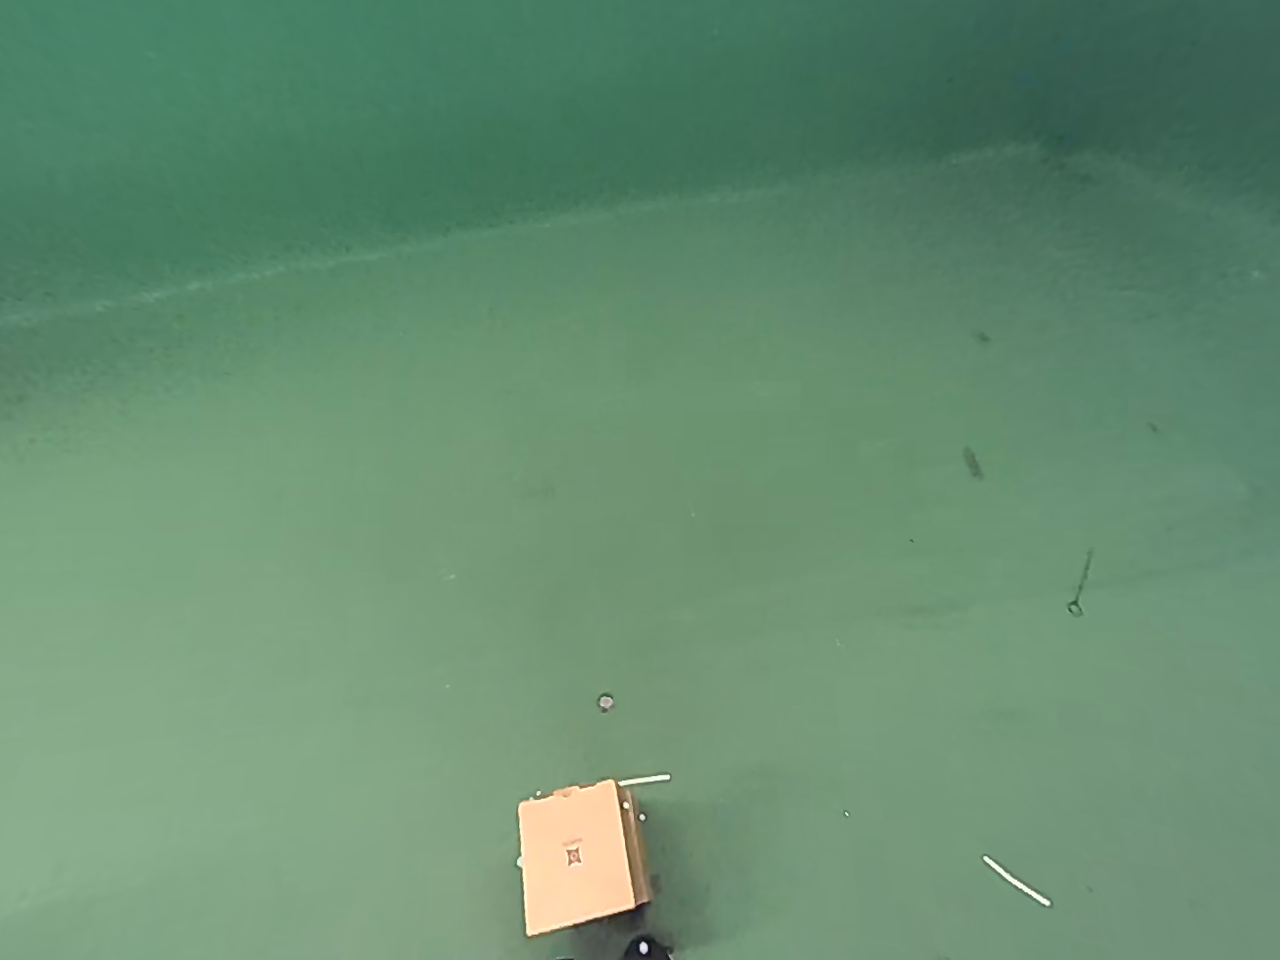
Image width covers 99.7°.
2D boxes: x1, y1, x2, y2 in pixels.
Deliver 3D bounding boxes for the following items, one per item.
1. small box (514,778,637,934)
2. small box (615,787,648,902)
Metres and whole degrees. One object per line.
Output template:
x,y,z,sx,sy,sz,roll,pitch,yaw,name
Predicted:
-0.104,0.626,0.908,0.168,0.176,0.179,-13,53,-3,small box
-0.084,0.717,1.041,0.168,0.176,0.179,-12,54,-3,small box
